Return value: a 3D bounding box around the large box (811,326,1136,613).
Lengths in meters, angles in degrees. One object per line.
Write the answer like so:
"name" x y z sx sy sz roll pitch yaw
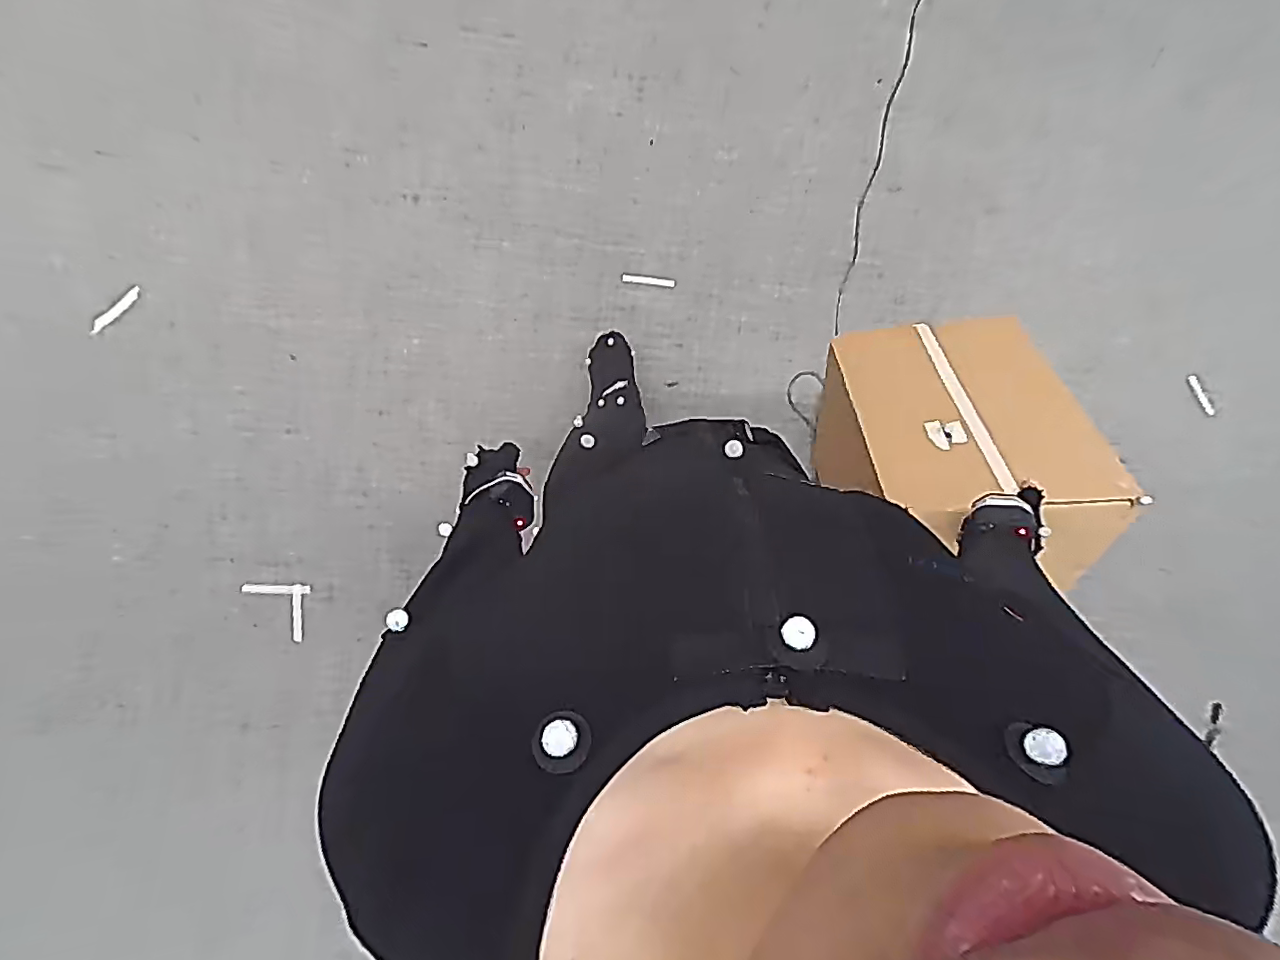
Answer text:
"large box" 0.515 -0.018 0.959 0.320 0.408 0.320 -5 140 6
